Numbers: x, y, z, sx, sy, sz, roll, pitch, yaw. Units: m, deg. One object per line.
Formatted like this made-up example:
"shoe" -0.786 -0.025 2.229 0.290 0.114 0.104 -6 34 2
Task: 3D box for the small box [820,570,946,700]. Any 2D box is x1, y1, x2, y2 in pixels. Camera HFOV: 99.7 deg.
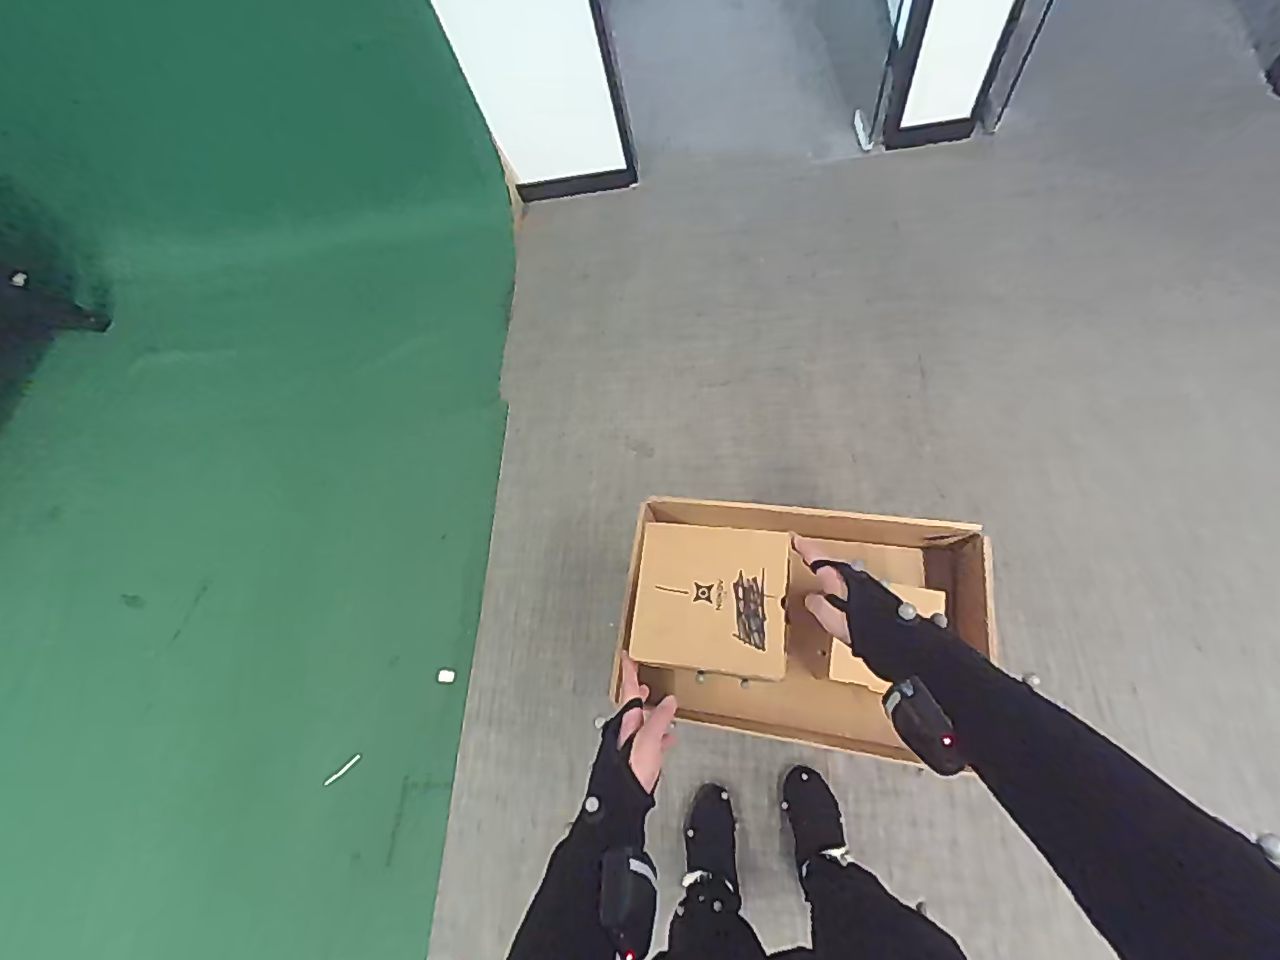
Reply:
"small box" 0.415 0.272 0.947 0.168 0.176 0.179 9 73 15

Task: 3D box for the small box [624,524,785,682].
"small box" 0.091 0.163 0.705 0.179 0.176 0.168 4 71 14
